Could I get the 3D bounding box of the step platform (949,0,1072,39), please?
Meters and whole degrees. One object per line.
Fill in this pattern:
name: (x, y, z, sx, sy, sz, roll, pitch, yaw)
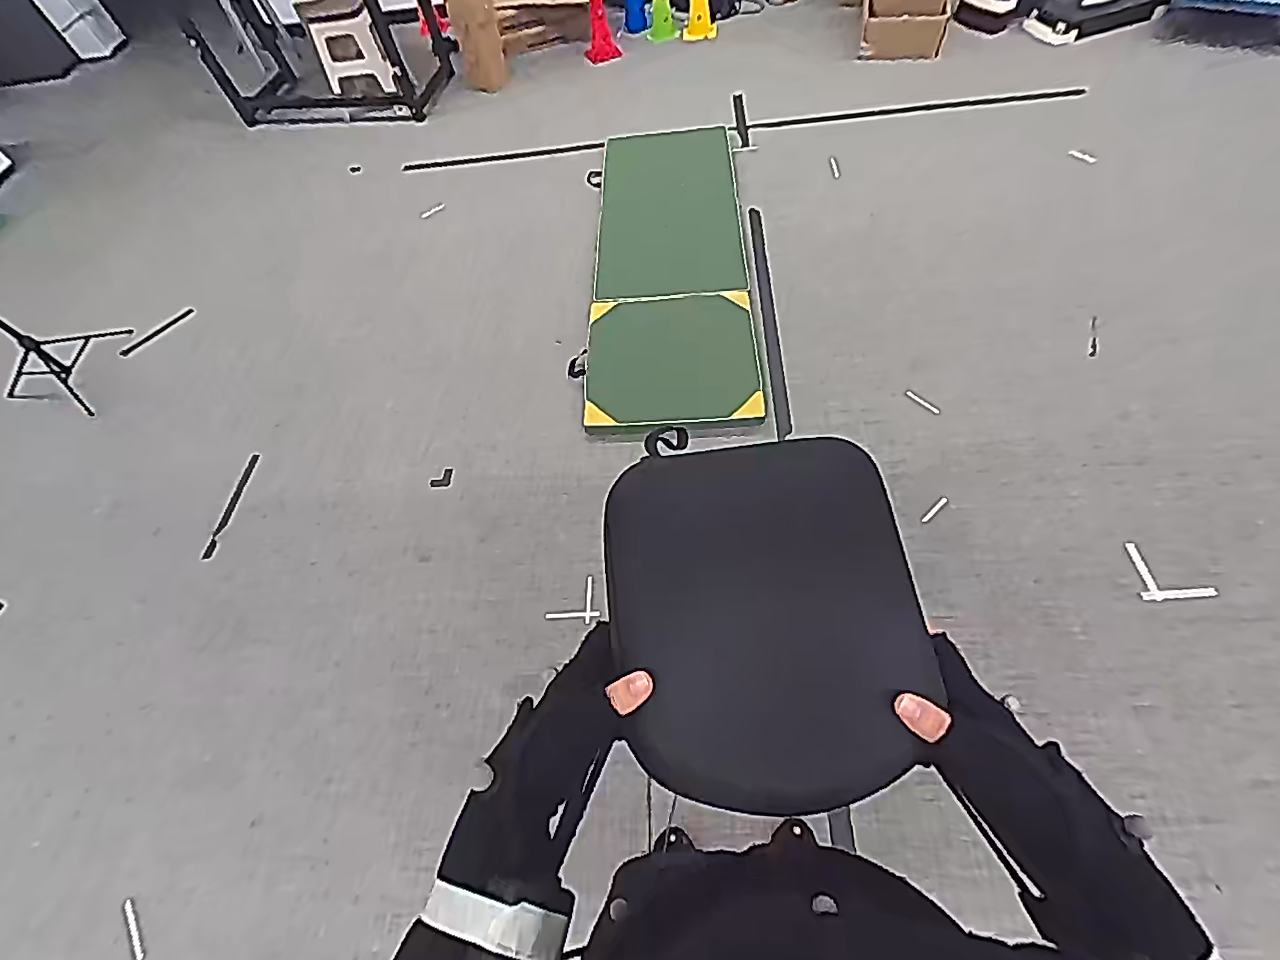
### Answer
step platform: (2.067, -2.665, 2.954, 0.684, 0.204, 0.286, -28, 60, -9)
